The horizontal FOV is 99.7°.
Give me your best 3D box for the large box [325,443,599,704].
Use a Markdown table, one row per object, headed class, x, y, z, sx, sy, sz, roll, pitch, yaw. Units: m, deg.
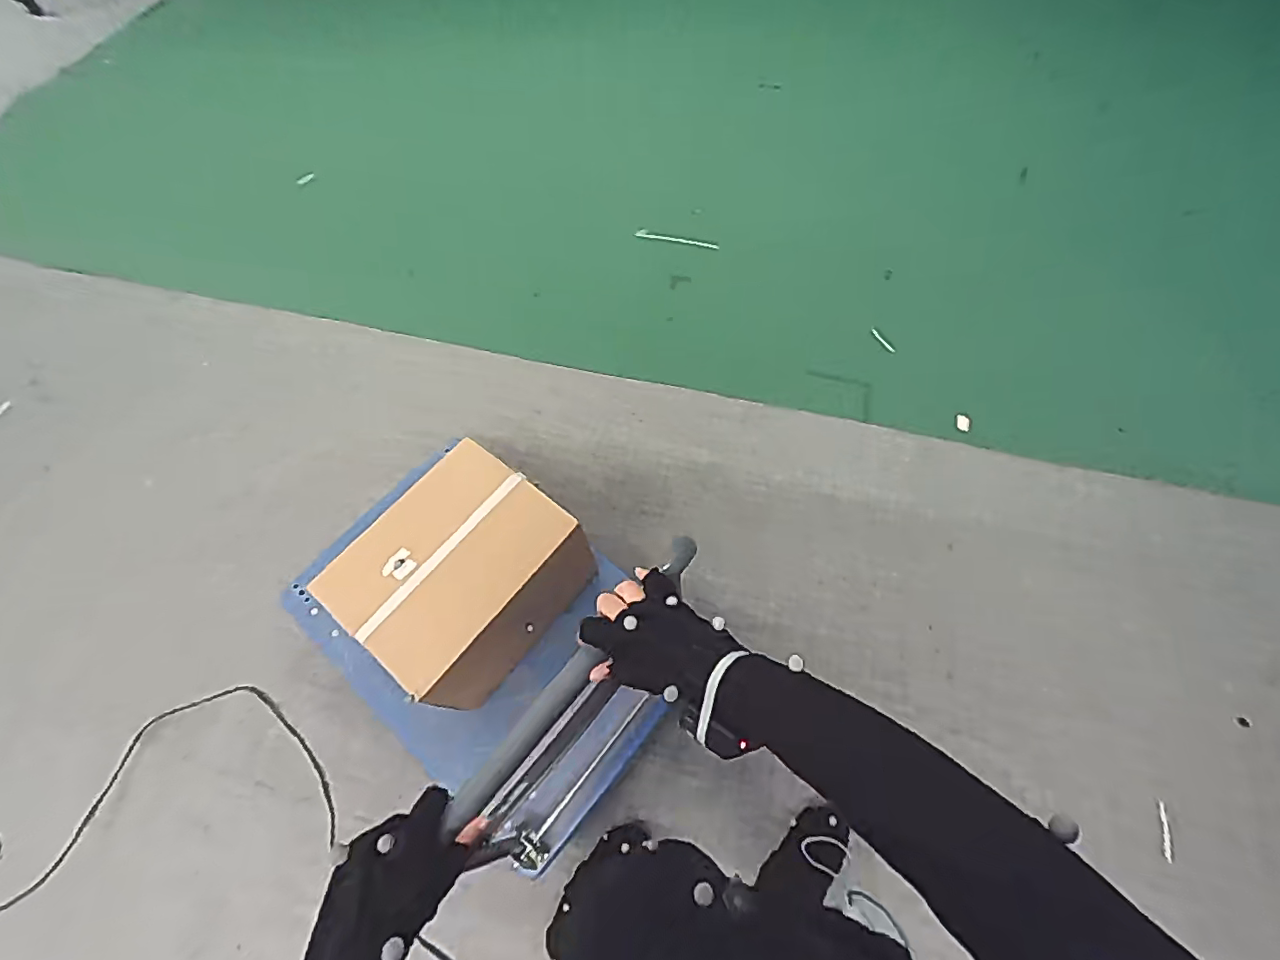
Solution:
| class | x | y | z | sx | sy | sz | roll | pitch | yaw |
| --- | --- | --- | --- | --- | --- | --- | --- | --- | --- |
| large box | -0.340 | 0.207 | 1.151 | 0.320 | 0.320 | 0.408 | 35 | 72 | 19 |
